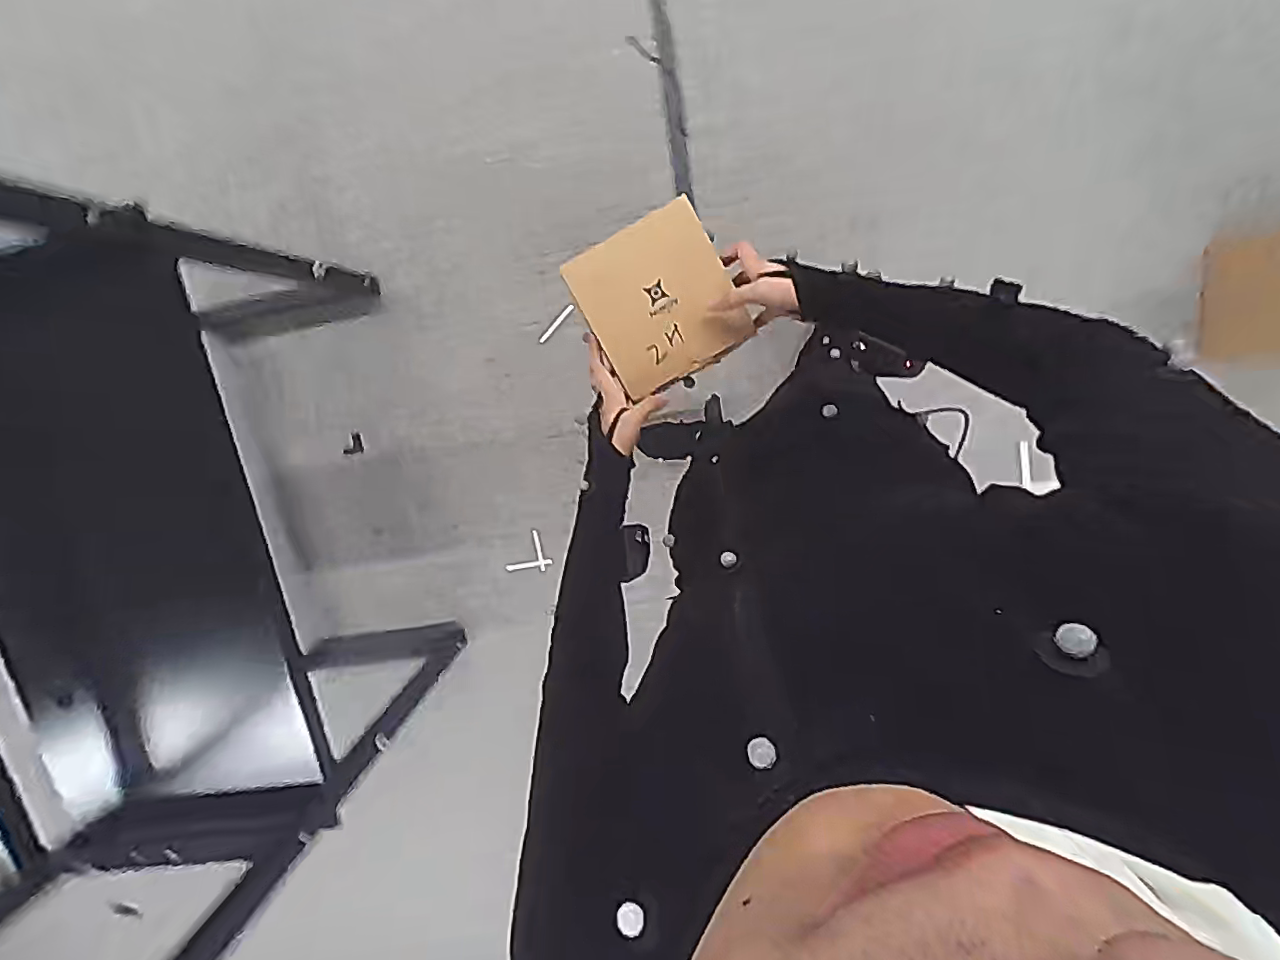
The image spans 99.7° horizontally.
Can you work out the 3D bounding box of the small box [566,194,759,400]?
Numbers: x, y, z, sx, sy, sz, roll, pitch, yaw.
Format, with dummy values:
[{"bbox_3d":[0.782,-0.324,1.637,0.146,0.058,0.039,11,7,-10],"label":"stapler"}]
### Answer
[{"bbox_3d":[0.022,-0.213,0.684,0.168,0.176,0.179,-27,97,1],"label":"small box"}]
